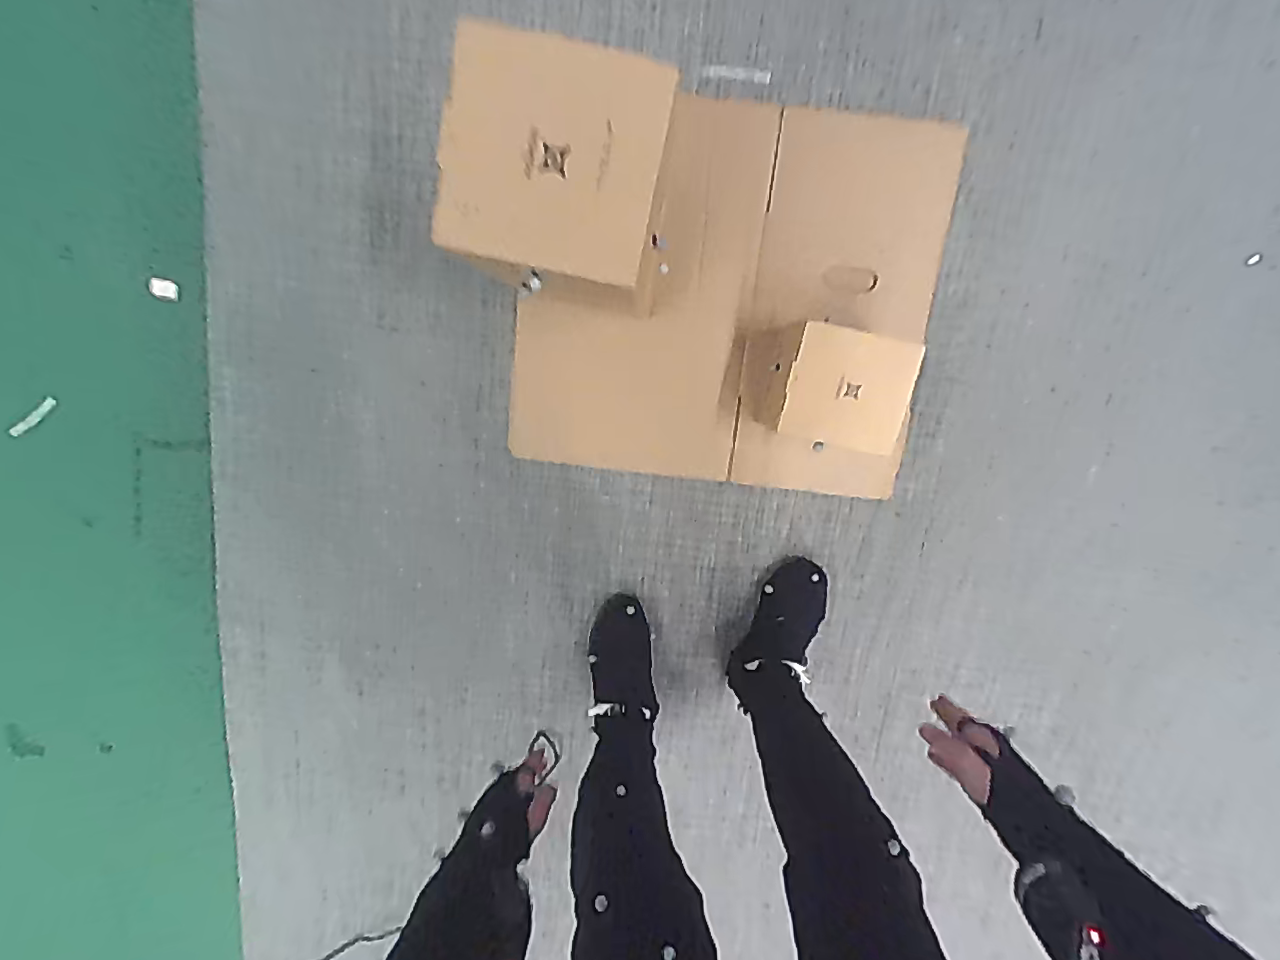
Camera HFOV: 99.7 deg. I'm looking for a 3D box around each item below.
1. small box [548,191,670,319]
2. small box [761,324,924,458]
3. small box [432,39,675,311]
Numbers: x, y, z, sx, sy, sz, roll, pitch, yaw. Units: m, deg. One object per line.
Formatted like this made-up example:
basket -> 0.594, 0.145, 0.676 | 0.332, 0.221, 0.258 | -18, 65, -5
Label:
small box -> -0.054, -0.349, 0.832 | 0.179, 0.176, 0.168 | 11, 102, 0
small box -> 0.306, -0.144, 0.857 | 0.179, 0.176, 0.168 | 12, 102, 2
small box -> -0.070, -0.265, 0.515 | 0.179, 0.176, 0.168 | 13, 103, 0
